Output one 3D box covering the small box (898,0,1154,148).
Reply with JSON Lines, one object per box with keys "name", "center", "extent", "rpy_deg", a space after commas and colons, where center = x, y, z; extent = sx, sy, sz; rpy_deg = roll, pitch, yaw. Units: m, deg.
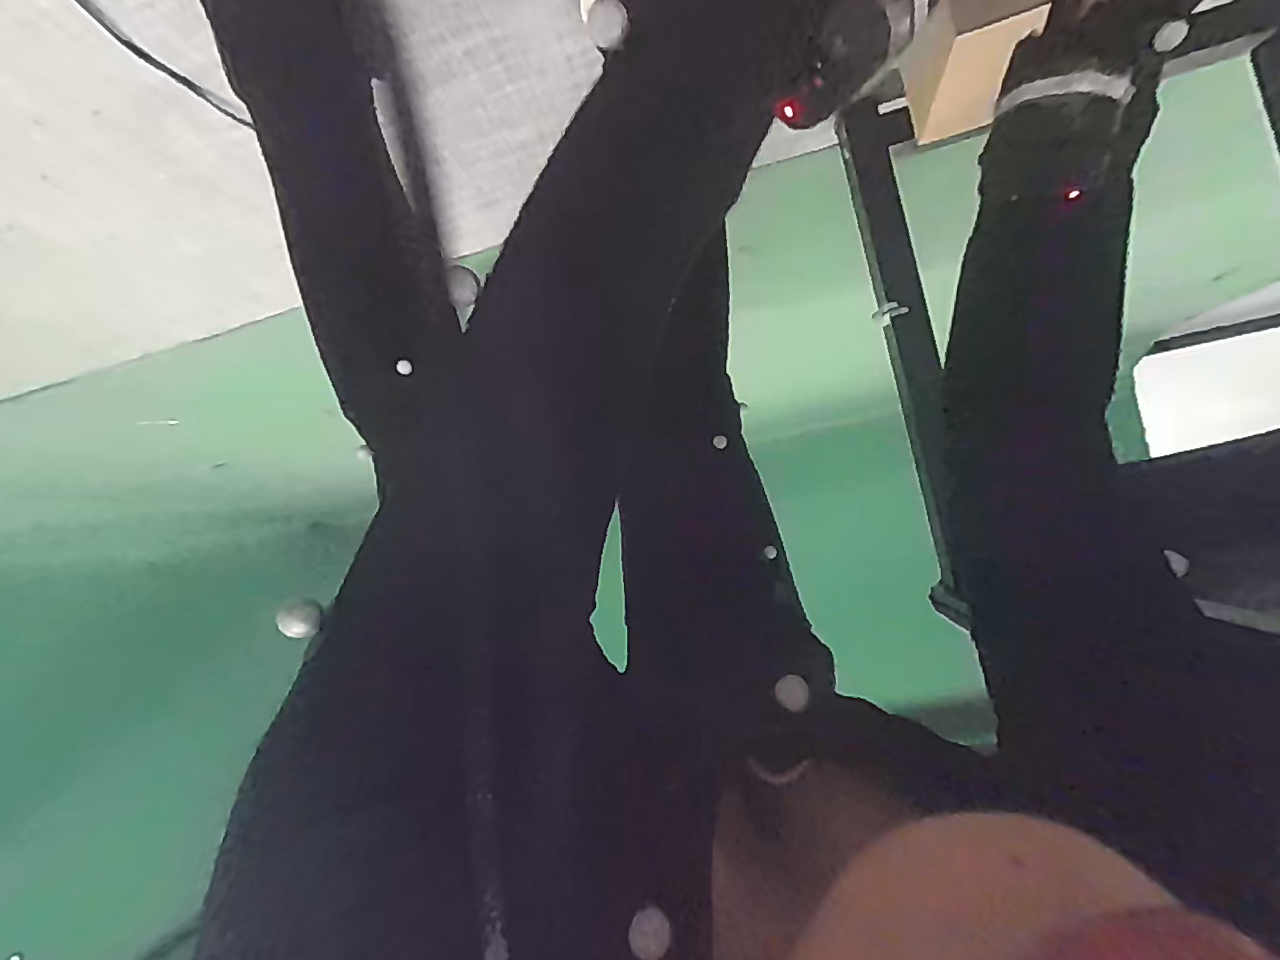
{"name": "small box", "center": [0.380, -0.496, 0.553], "extent": [0.179, 0.176, 0.168], "rpy_deg": [-12, 175, 16]}
